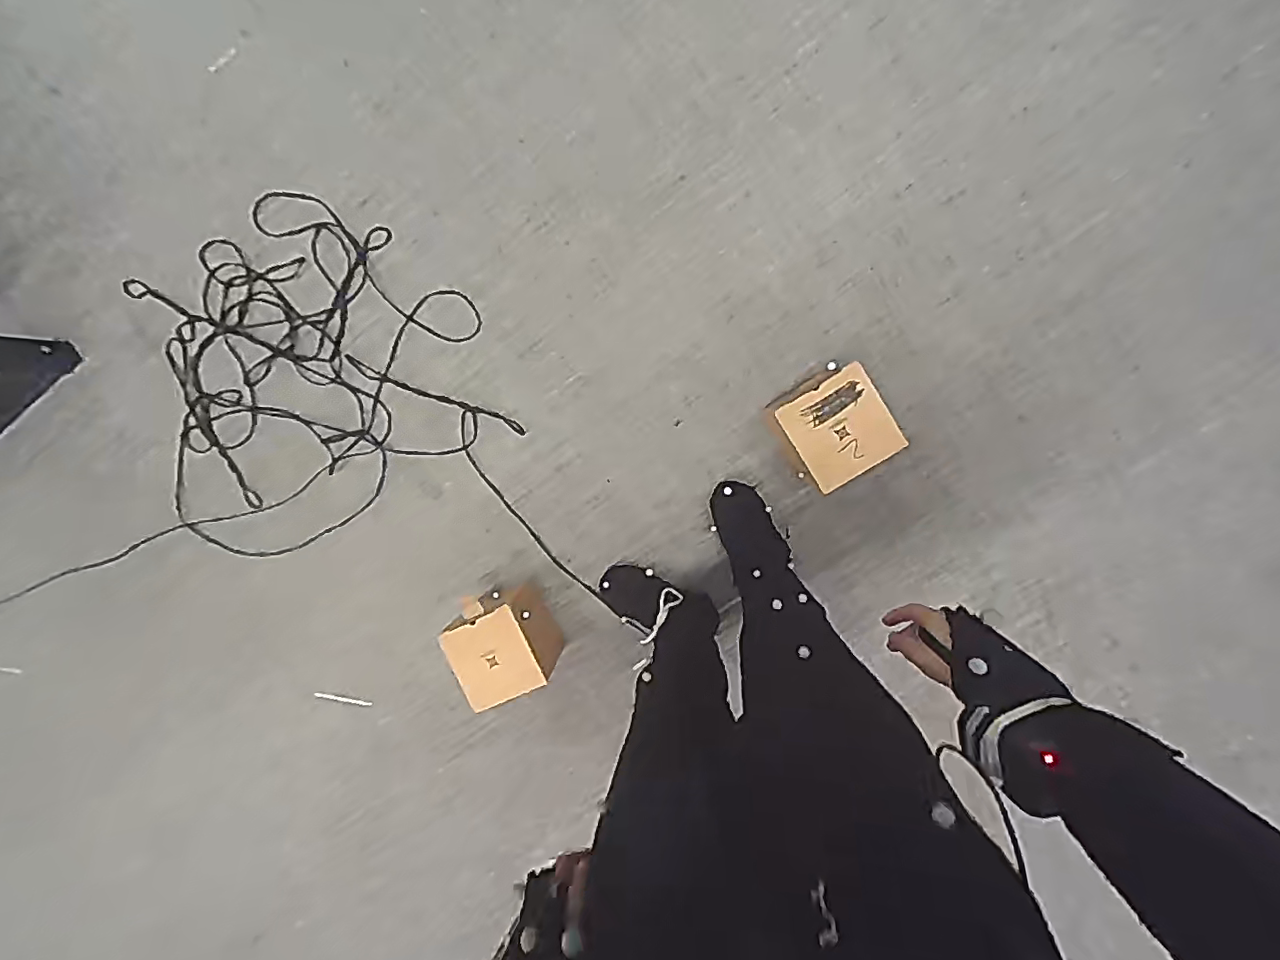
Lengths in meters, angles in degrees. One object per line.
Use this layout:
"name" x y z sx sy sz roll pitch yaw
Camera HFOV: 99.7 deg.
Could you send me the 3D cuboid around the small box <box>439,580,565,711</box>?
"small box" -0.274 0.334 1.121 0.168 0.176 0.179 -25 94 8
